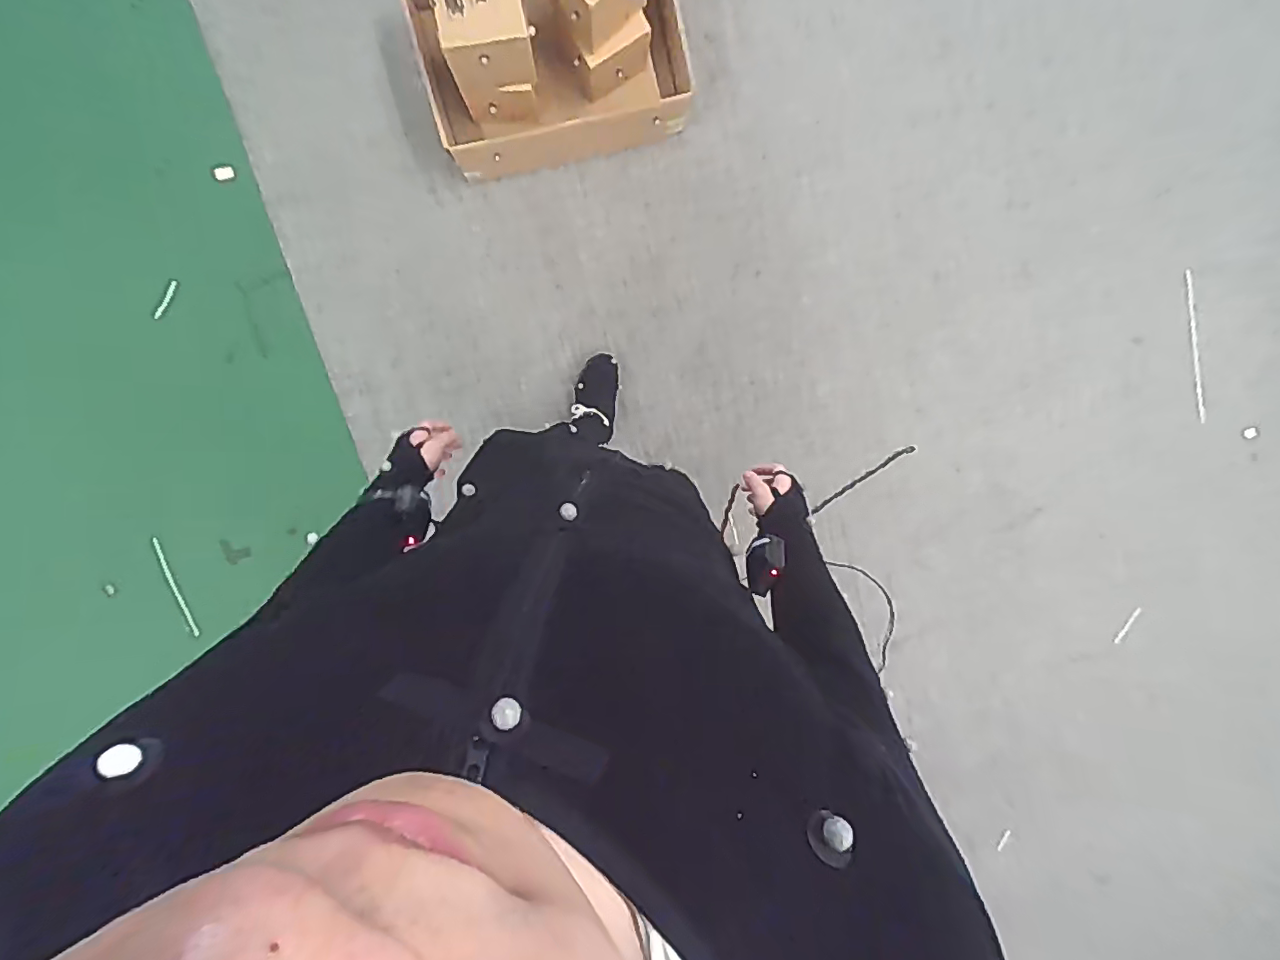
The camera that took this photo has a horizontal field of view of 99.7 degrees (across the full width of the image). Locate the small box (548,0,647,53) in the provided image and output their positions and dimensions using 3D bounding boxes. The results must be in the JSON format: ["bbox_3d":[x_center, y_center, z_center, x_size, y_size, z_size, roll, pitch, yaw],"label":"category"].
[{"bbox_3d":[-0.093,-1.052,1.133,0.168,0.176,0.179,-41,100,4],"label":"small box"}]

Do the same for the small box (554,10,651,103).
[{"bbox_3d":[-0.087,-1.053,1.299,0.168,0.176,0.179,-30,100,2],"label":"small box"}]

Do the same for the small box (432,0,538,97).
[{"bbox_3d":[-0.322,-0.942,1.137,0.179,0.176,0.168,-11,100,-3],"label":"small box"}]
